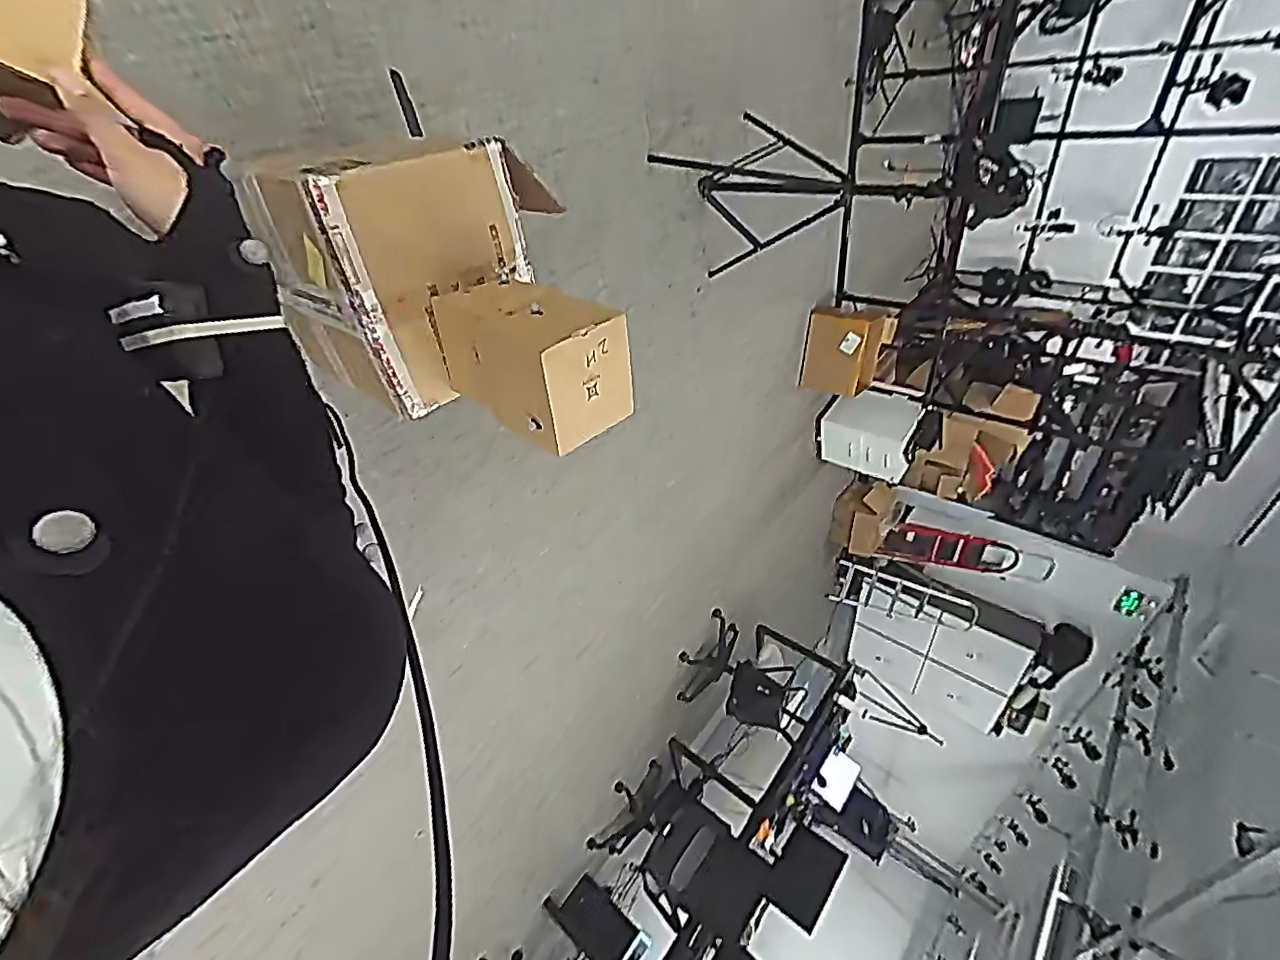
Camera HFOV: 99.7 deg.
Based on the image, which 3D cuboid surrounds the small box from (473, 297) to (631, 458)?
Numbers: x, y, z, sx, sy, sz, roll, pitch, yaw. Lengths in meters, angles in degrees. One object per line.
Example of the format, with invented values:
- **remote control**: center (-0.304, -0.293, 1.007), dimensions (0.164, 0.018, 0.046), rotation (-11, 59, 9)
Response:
- **small box**: center (-0.133, -0.167, 0.848), dimensions (0.168, 0.176, 0.179), rotation (-36, 137, -34)

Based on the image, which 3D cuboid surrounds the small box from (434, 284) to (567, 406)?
- **small box**: center (-0.238, -0.238, 0.957), dimensions (0.168, 0.176, 0.179), rotation (-33, 136, -36)

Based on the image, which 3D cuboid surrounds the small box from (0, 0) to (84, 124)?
- **small box**: center (-0.433, -0.321, 0.283), dimensions (0.179, 0.176, 0.168), rotation (3, 97, -56)
